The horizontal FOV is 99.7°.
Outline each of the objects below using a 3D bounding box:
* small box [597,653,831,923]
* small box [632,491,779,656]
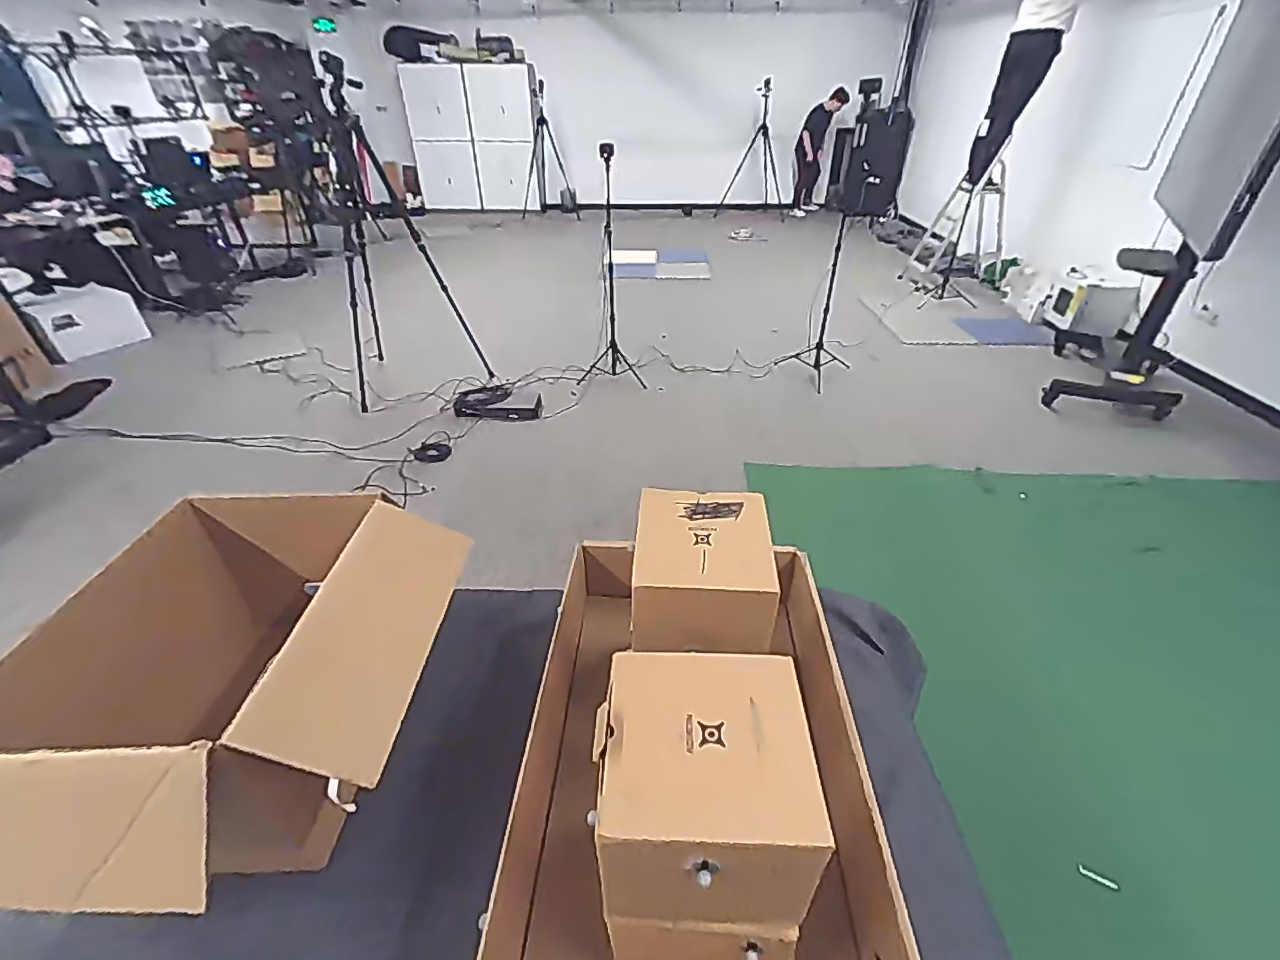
[{"bbox_3d":[0.059,0.284,0.505,0.179,0.176,0.168,1,35,2],"label":"small box"},{"bbox_3d":[0.079,0.135,0.709,0.168,0.176,0.179,2,38,4],"label":"small box"}]
